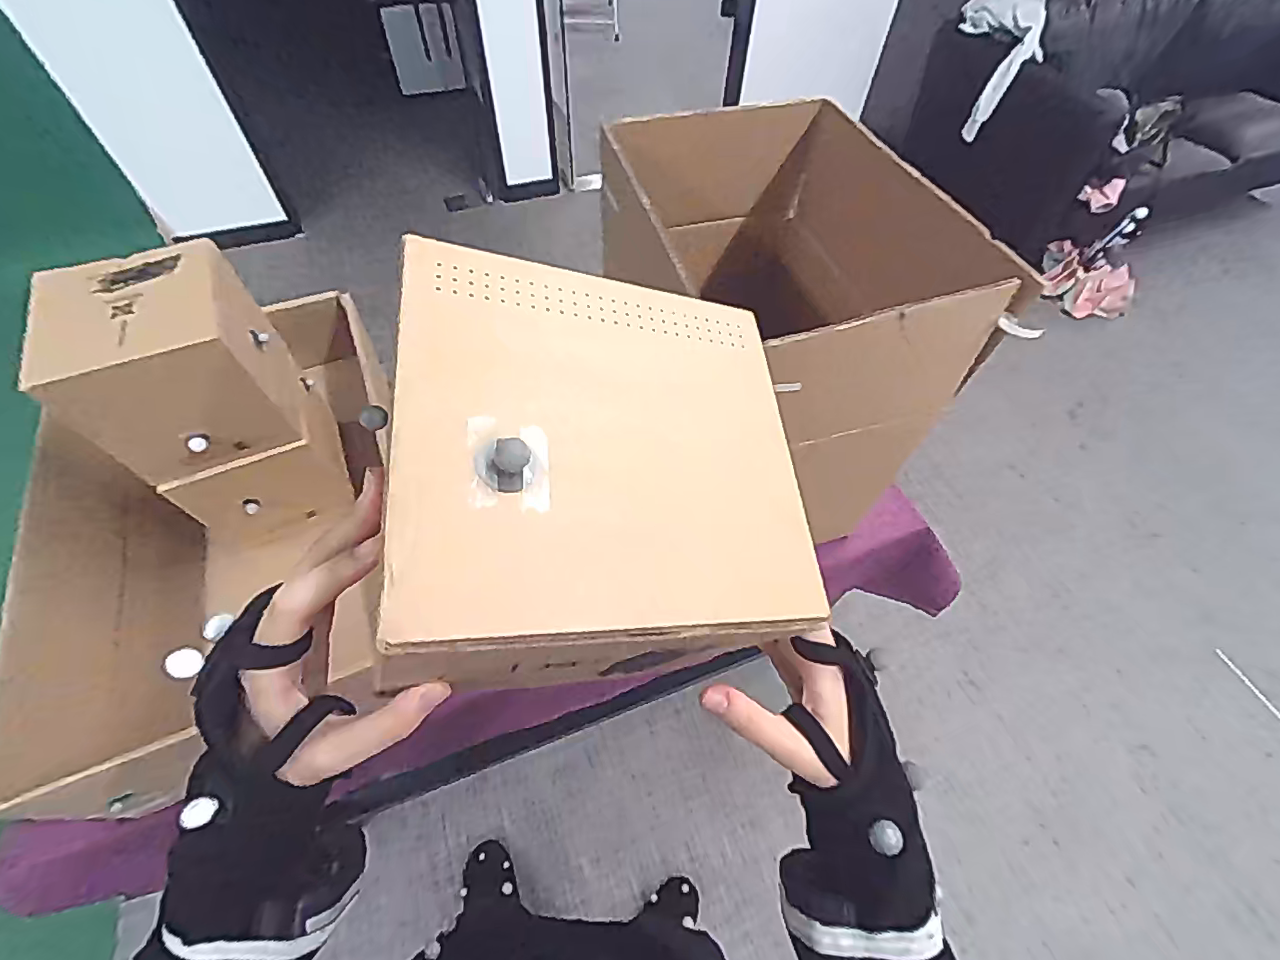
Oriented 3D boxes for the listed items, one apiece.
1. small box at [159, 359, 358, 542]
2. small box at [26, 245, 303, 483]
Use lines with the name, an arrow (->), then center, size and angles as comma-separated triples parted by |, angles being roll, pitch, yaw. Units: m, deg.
small box -> -0.518, -0.033, 0.749 | 0.168, 0.176, 0.179 | -22, 61, -15
small box -> -0.517, -0.128, 0.614 | 0.168, 0.176, 0.179 | -21, 62, -14
